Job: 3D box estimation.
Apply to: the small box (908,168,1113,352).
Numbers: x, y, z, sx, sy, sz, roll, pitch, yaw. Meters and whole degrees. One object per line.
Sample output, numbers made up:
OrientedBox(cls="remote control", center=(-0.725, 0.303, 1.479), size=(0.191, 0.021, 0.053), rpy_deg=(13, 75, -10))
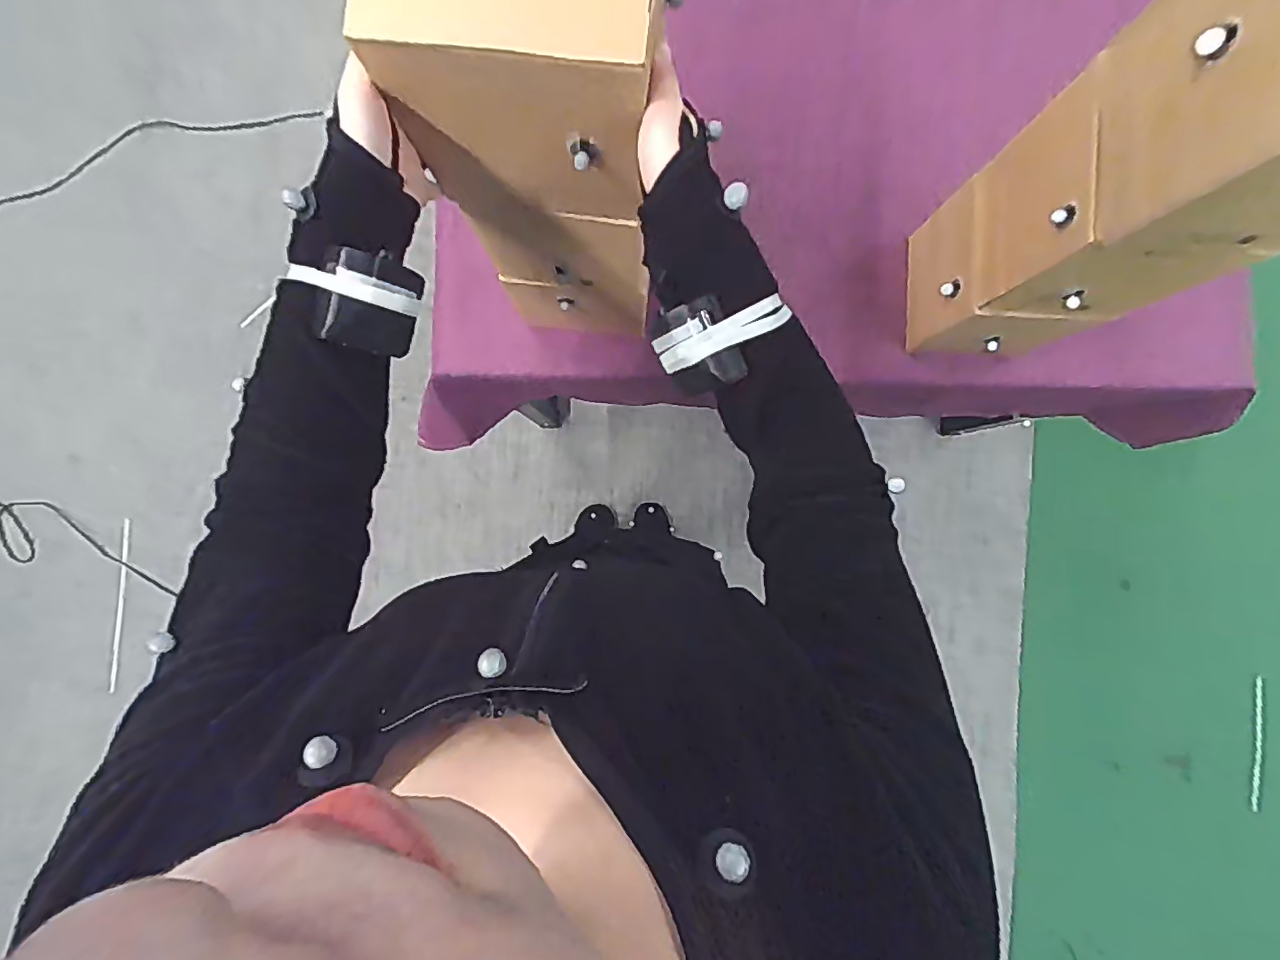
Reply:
OrientedBox(cls="small box", center=(0.476, -0.276, 0.715), size=(0.168, 0.176, 0.179), rpy_deg=(3, 88, 0))

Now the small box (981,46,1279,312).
OrientedBox(cls="small box", center=(0.482, -0.288, 0.553), size=(0.168, 0.176, 0.179), rpy_deg=(3, 89, 0))

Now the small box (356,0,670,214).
OrientedBox(cls="small box", center=(-0.069, -0.317, 0.390), size=(0.179, 0.176, 0.168), rpy_deg=(6, 88, 0))

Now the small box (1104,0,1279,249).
OrientedBox(cls="small box", center=(0.481, -0.290, 0.388), size=(0.168, 0.176, 0.179), rpy_deg=(-1, 88, 1))

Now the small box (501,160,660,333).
OrientedBox(cls="small box", center=(-0.070, -0.303, 0.718), size=(0.179, 0.176, 0.168), rpy_deg=(5, 88, -1))
